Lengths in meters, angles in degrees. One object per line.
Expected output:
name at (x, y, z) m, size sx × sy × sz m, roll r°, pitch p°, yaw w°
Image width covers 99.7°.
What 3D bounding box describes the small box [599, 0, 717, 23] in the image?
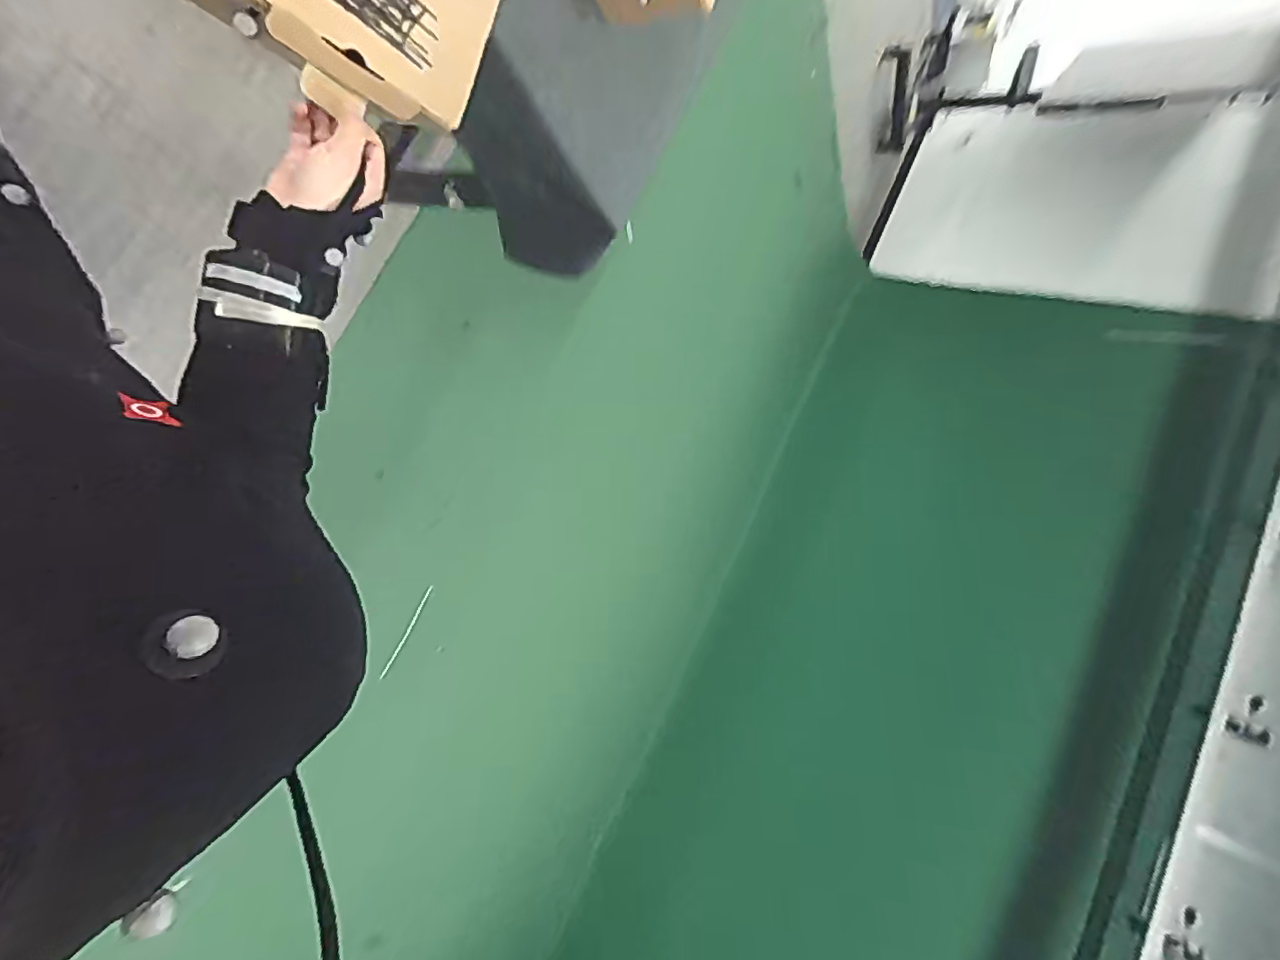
small box at (0.017, -0.718, 0.667) m, size 0.168 × 0.176 × 0.179 m, roll 19°, pitch 90°, yaw -60°
